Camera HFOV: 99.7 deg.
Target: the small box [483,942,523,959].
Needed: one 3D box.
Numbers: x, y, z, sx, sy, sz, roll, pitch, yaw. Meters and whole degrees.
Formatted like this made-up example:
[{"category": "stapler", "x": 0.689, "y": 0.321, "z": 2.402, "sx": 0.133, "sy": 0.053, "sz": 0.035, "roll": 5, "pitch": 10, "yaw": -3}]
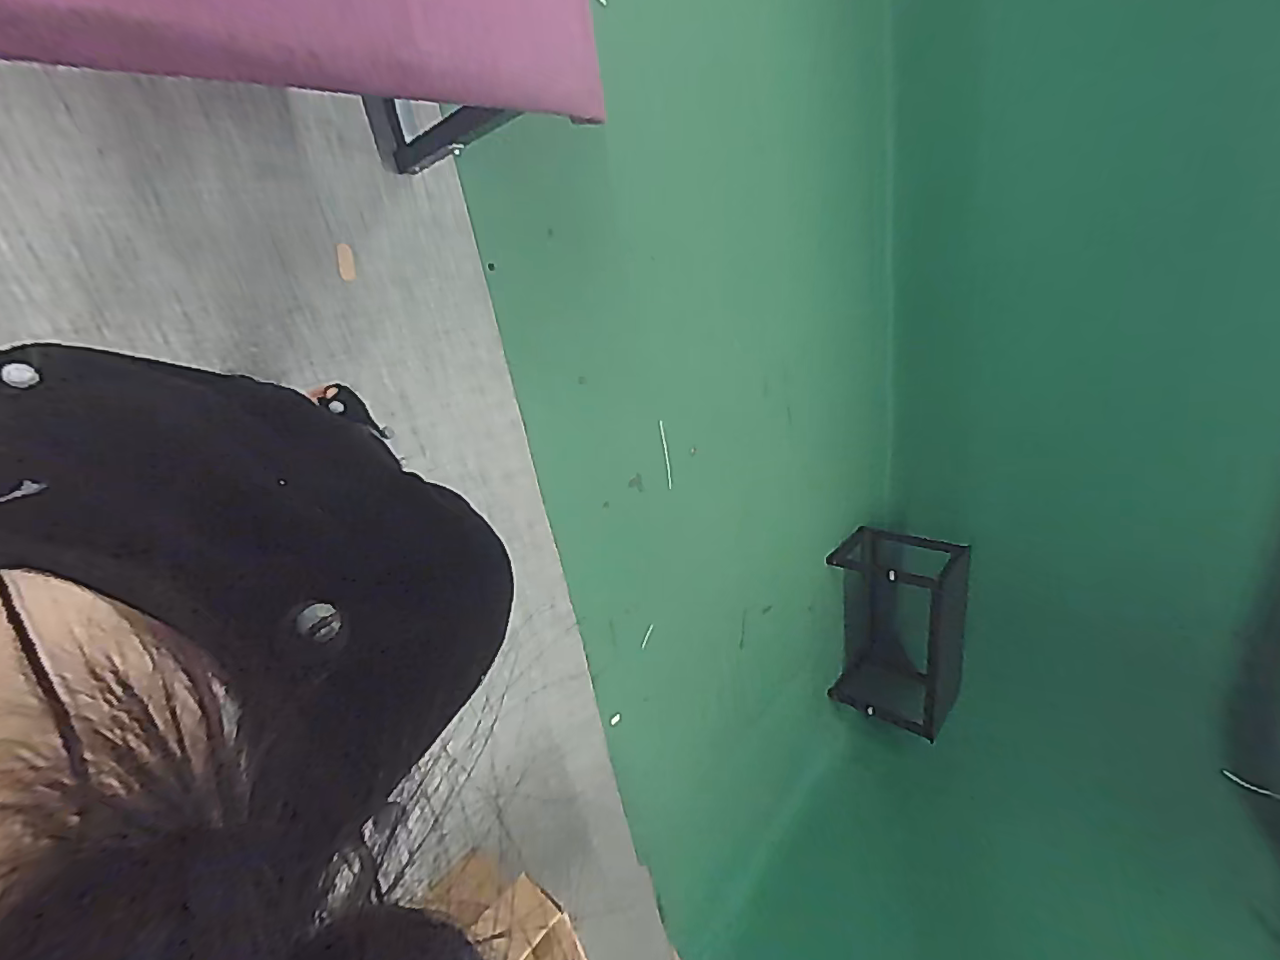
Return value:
[{"category": "small box", "x": -0.371, "y": 1.420, "z": 1.475, "sx": 0.168, "sy": 0.176, "sz": 0.179, "roll": -44, "pitch": 127, "yaw": -31}]
